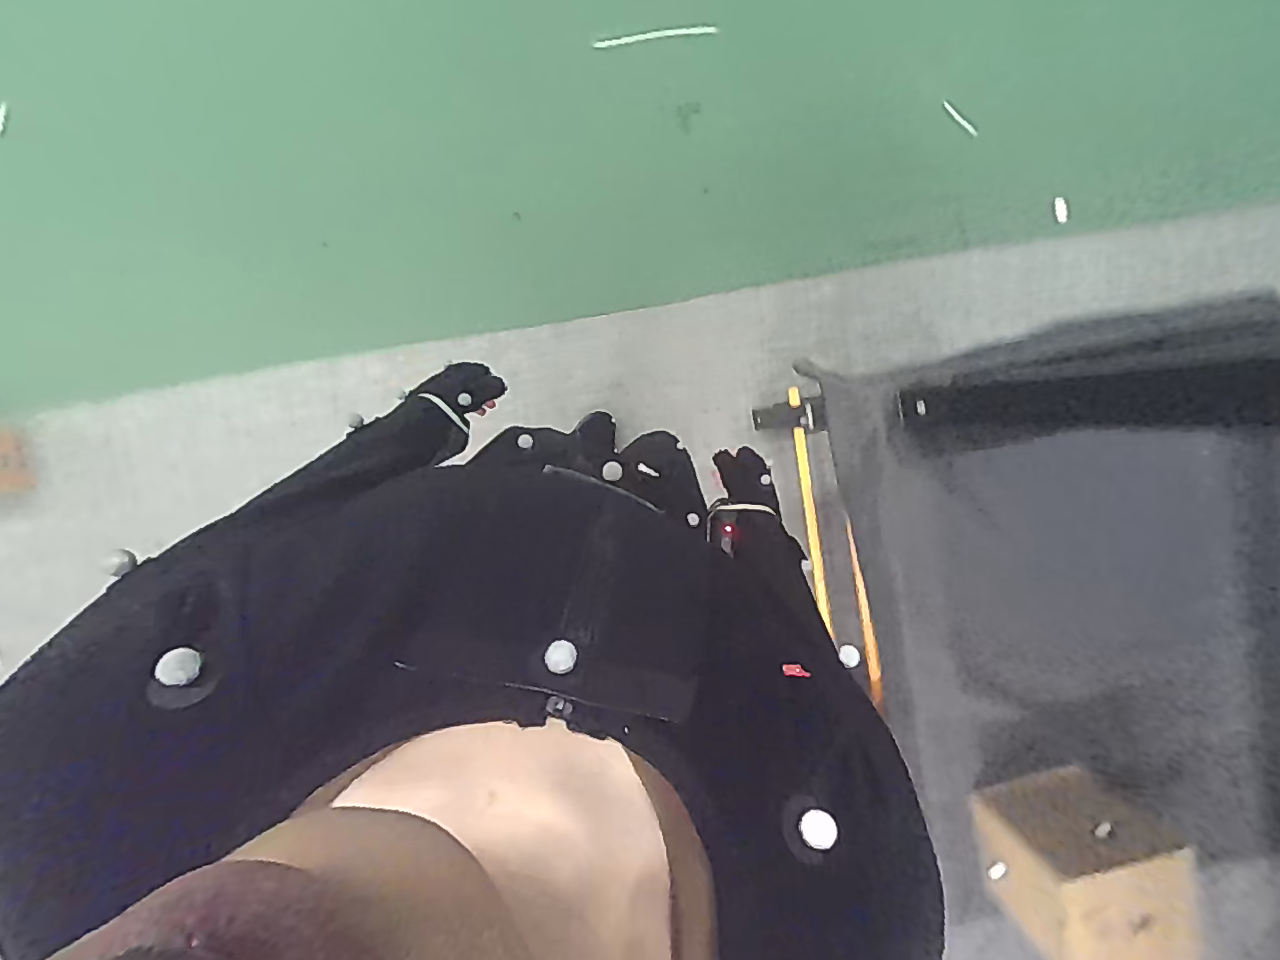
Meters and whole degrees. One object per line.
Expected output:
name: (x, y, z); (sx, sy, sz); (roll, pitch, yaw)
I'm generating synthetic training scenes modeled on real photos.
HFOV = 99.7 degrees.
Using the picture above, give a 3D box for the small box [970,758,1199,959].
small box: (0.607, 0.524, 0.755); (0.179, 0.176, 0.168); (-13, 96, -3)
